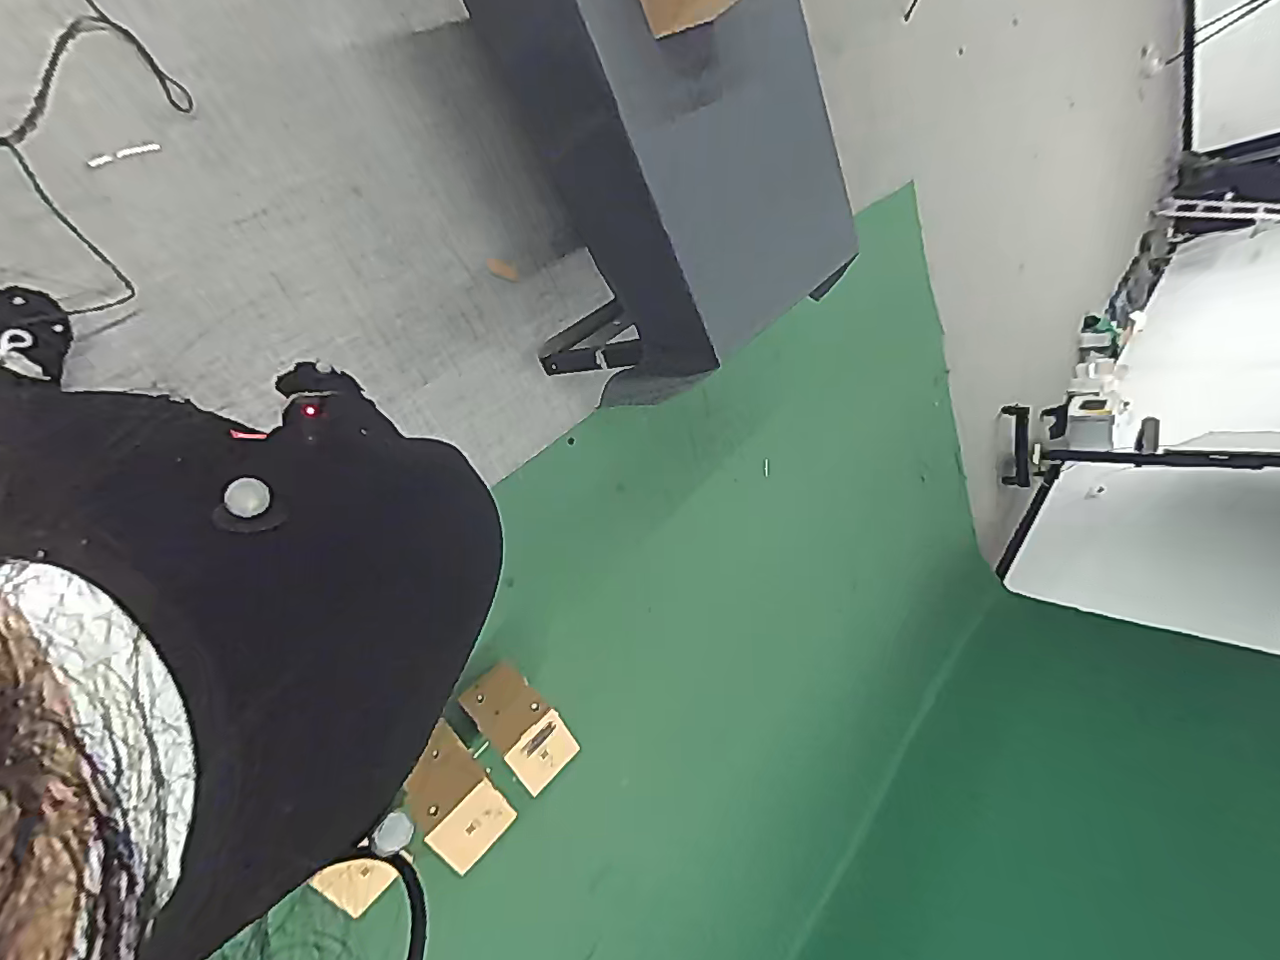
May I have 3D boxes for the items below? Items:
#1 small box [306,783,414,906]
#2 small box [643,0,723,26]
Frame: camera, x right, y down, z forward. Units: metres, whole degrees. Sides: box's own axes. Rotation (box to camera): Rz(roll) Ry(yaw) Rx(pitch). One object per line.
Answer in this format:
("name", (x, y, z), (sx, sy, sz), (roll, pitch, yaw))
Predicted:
("small box", (-0.721, 0.926, 1.390), (0.168, 0.176, 0.179), (-41, 118, -27))
("small box", (0.092, -0.872, 0.863), (0.179, 0.176, 0.168), (-42, 120, -27))
